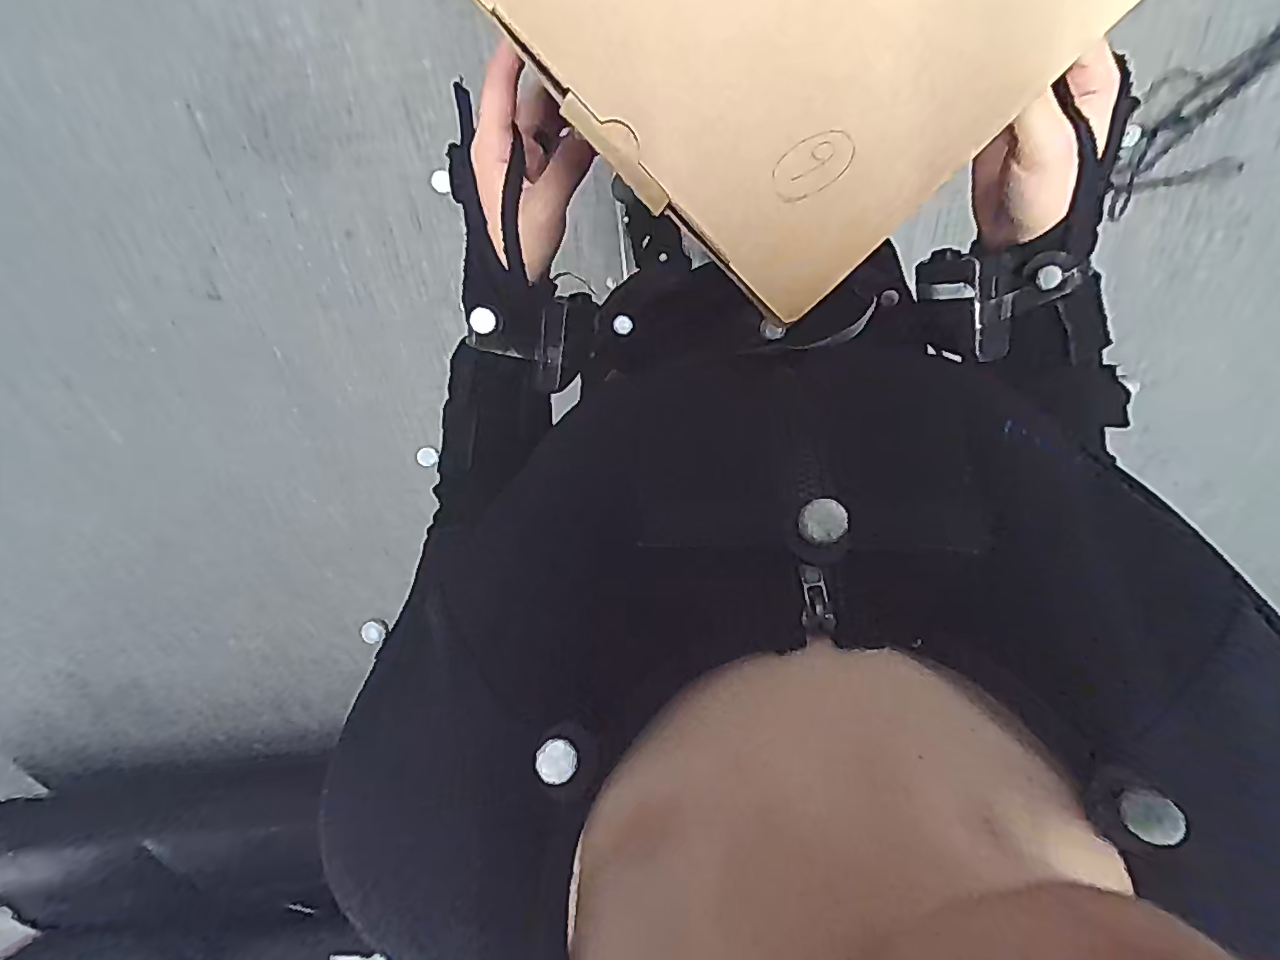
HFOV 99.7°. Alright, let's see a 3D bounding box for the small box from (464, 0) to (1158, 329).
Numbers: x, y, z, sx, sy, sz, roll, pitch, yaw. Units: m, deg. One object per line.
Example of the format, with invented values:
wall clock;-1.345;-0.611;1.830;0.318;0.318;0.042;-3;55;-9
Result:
small box;0.063;-0.193;0.214;0.168;0.176;0.179;42;114;-14
